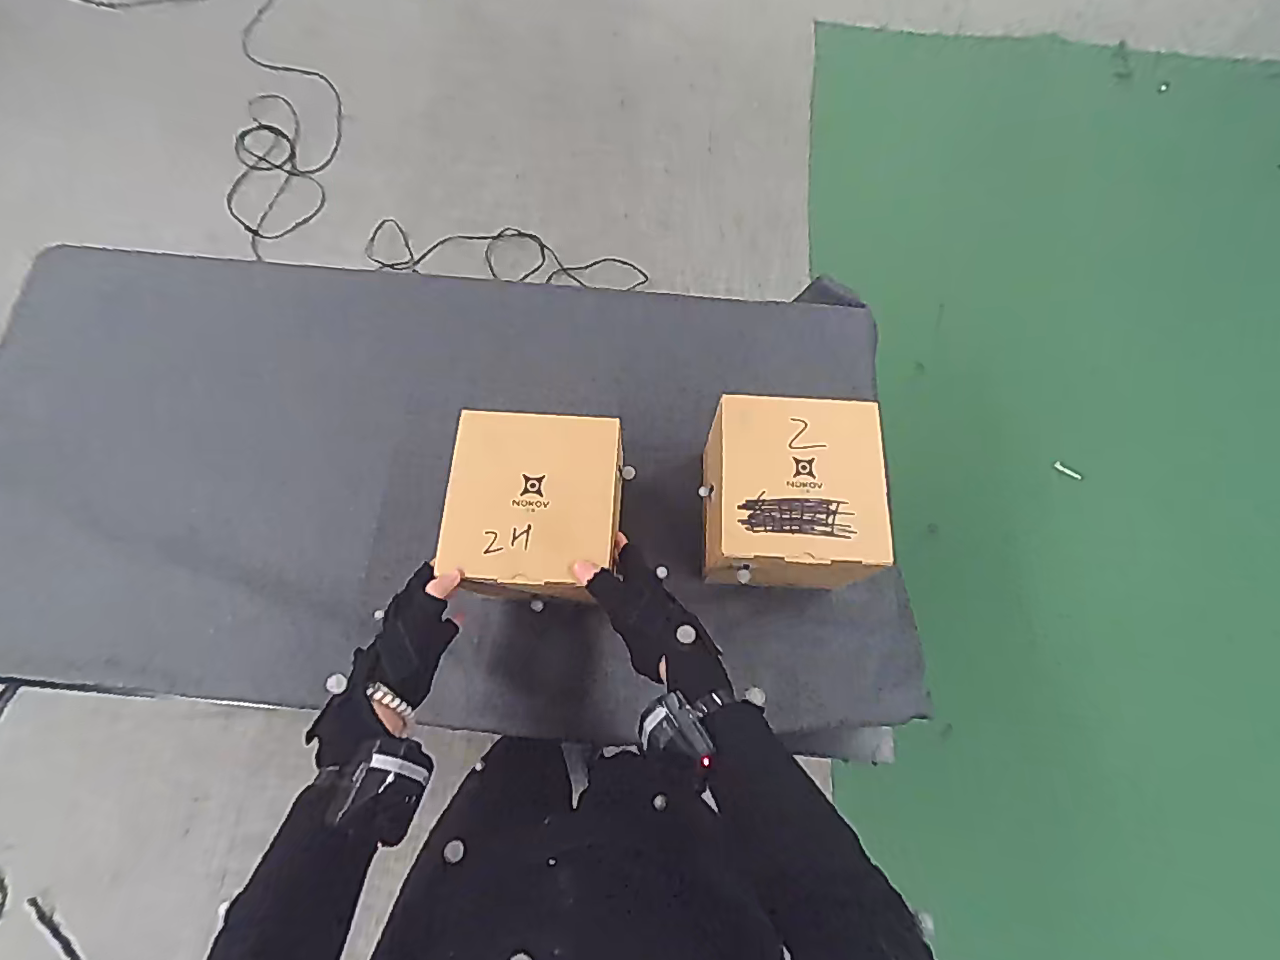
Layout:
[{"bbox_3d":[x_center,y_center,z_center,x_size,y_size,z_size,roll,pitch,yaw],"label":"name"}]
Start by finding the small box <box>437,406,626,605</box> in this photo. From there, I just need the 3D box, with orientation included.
[{"bbox_3d":[-0.104,0.037,0.605,0.168,0.176,0.179,4,70,1],"label":"small box"}]
